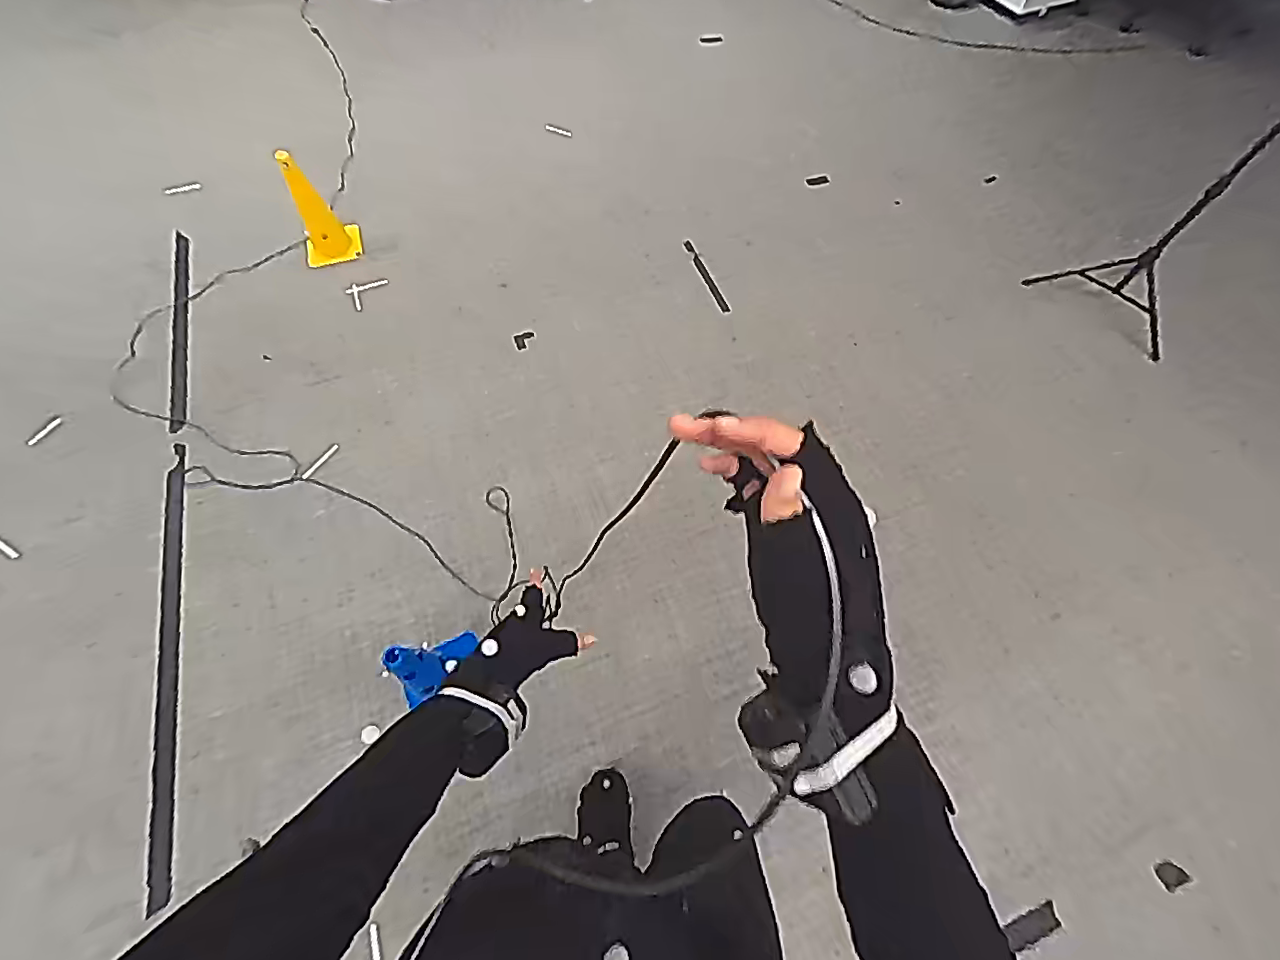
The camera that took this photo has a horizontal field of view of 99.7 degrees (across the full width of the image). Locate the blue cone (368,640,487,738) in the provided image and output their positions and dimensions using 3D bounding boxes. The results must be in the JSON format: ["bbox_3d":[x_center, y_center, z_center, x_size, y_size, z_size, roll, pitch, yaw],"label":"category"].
[{"bbox_3d":[-0.487,0.431,1.186,0.192,0.380,0.193,-24,64,-12],"label":"blue cone"}]
